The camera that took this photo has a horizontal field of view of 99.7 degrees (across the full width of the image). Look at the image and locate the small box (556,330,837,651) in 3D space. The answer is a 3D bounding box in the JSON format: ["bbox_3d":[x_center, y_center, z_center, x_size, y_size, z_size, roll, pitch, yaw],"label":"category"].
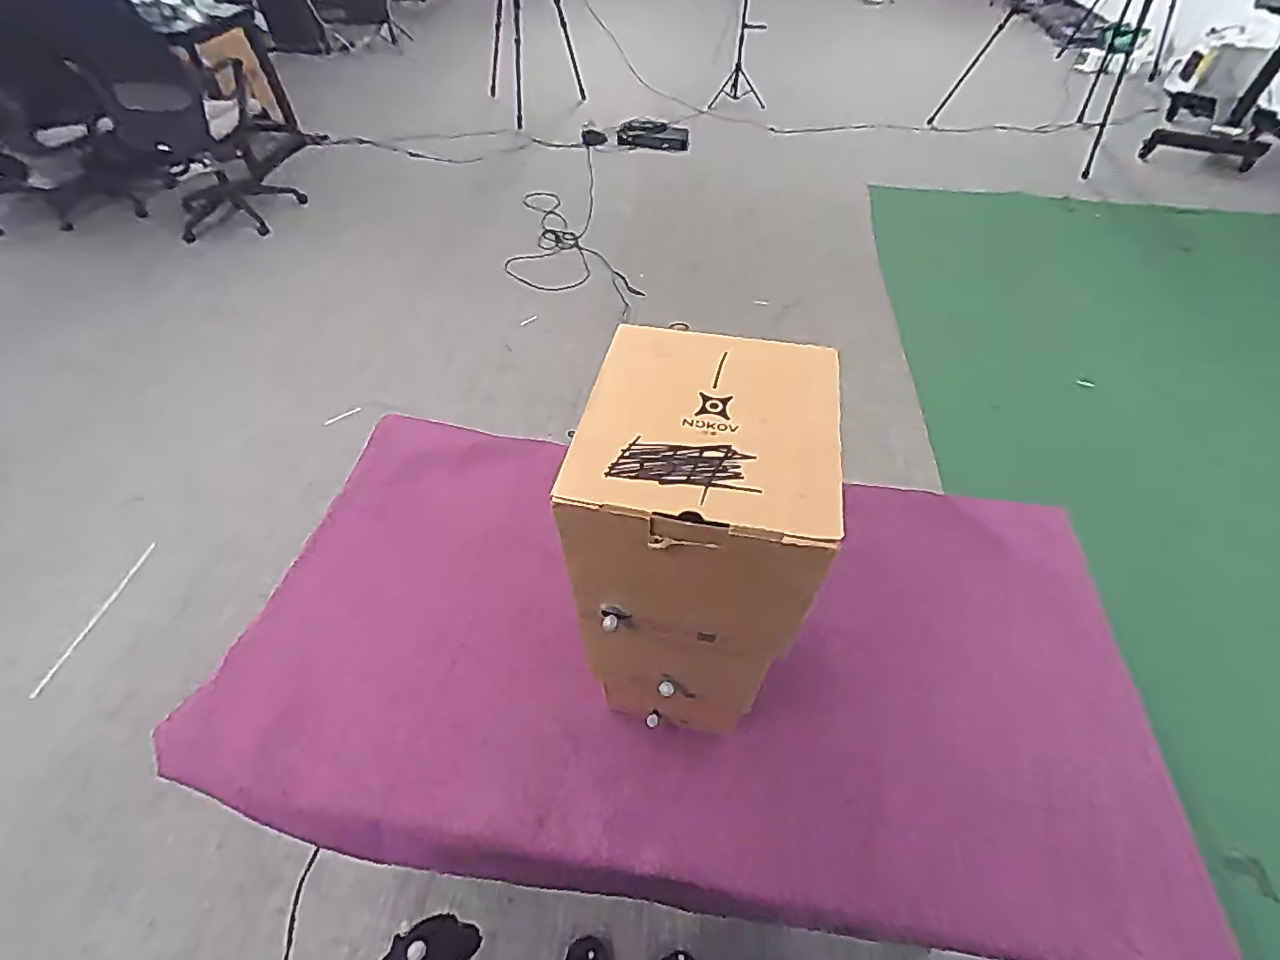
[{"bbox_3d":[0.049,0.011,0.421,0.168,0.176,0.179,9,50,9],"label":"small box"}]

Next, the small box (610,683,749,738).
[{"bbox_3d":[0.057,0.201,0.689,0.168,0.176,0.179,10,52,9],"label":"small box"}]

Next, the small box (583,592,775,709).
[{"bbox_3d":[0.048,0.108,0.554,0.168,0.176,0.179,8,51,9],"label":"small box"}]
